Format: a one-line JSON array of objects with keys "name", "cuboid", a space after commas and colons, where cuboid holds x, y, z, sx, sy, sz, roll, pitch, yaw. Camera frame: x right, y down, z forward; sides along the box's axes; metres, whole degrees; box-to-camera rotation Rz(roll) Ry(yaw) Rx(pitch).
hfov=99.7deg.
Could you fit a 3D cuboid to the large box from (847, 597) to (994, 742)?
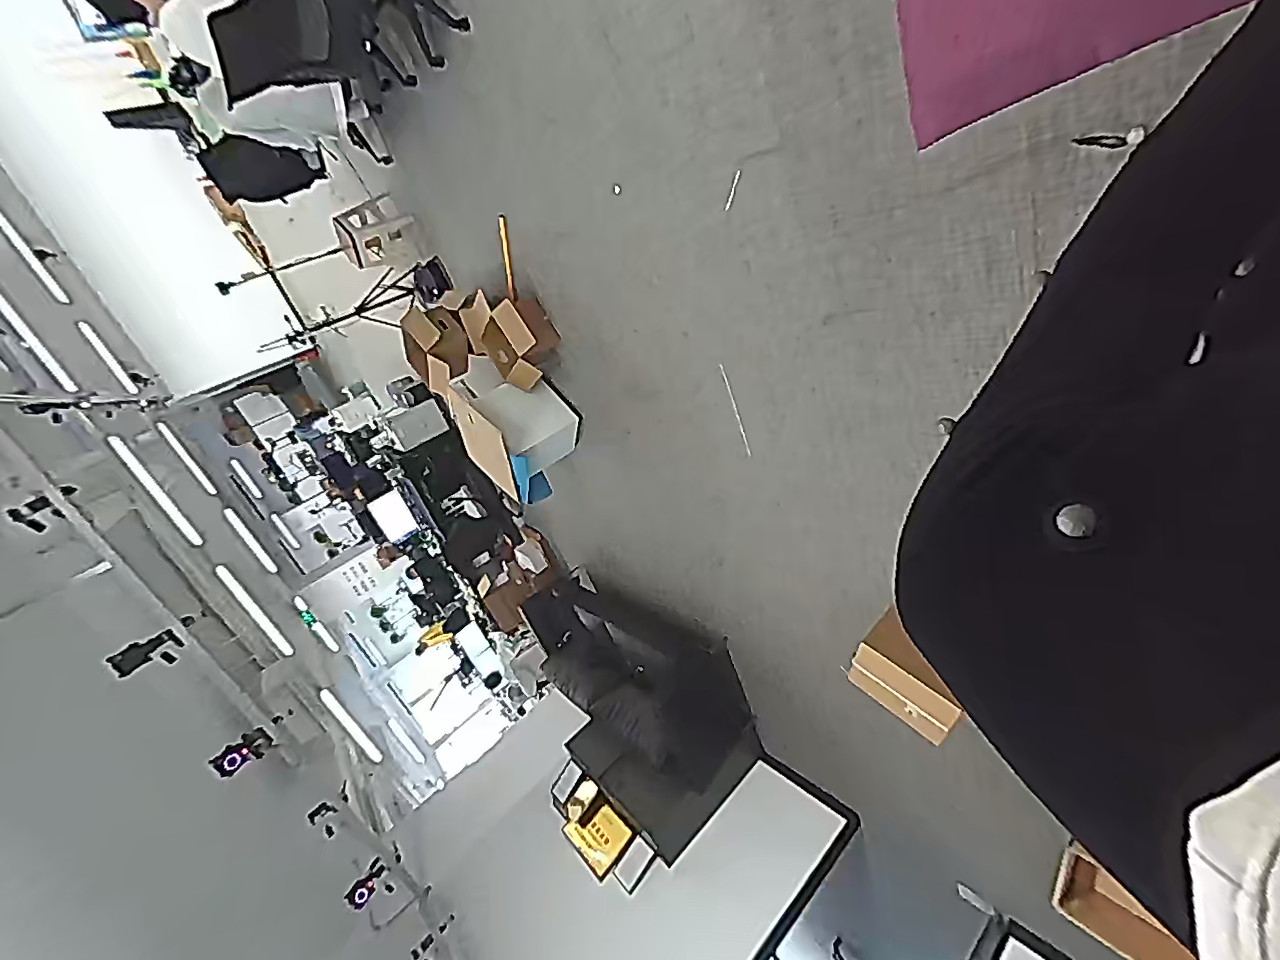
[{"name": "large box", "cuboid": [1.128, 0.760, 2.209, 0.408, 0.320, 0.320, 33, 146, 34]}]
